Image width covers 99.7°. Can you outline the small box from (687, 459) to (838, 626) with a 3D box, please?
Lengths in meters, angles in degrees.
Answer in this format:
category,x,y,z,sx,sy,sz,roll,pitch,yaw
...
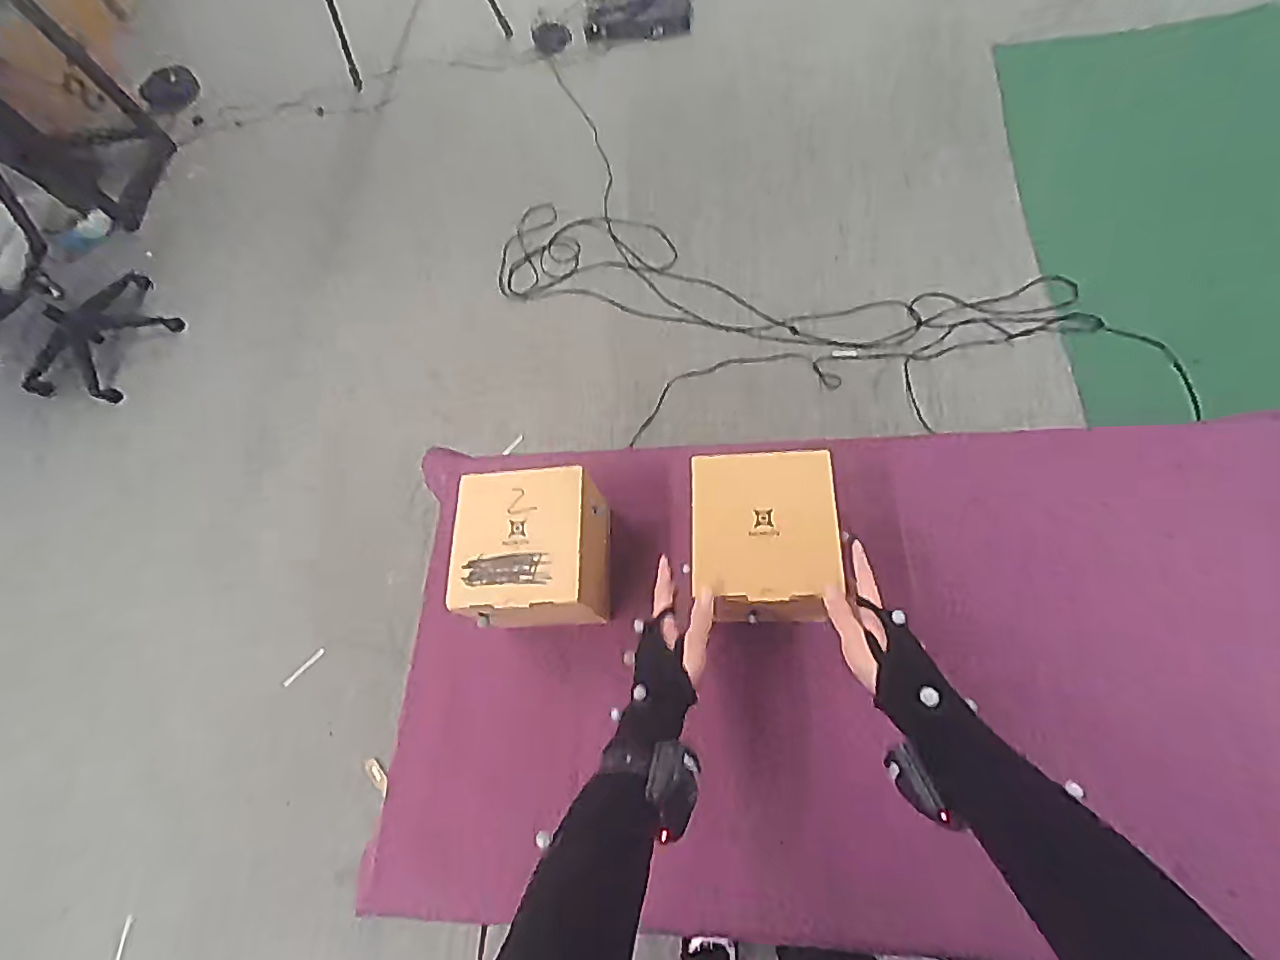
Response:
category,x,y,z,sx,sy,sz,roll,pitch,yaw
small box,0.150,0.088,0.699,0.168,0.176,0.179,-3,68,10
